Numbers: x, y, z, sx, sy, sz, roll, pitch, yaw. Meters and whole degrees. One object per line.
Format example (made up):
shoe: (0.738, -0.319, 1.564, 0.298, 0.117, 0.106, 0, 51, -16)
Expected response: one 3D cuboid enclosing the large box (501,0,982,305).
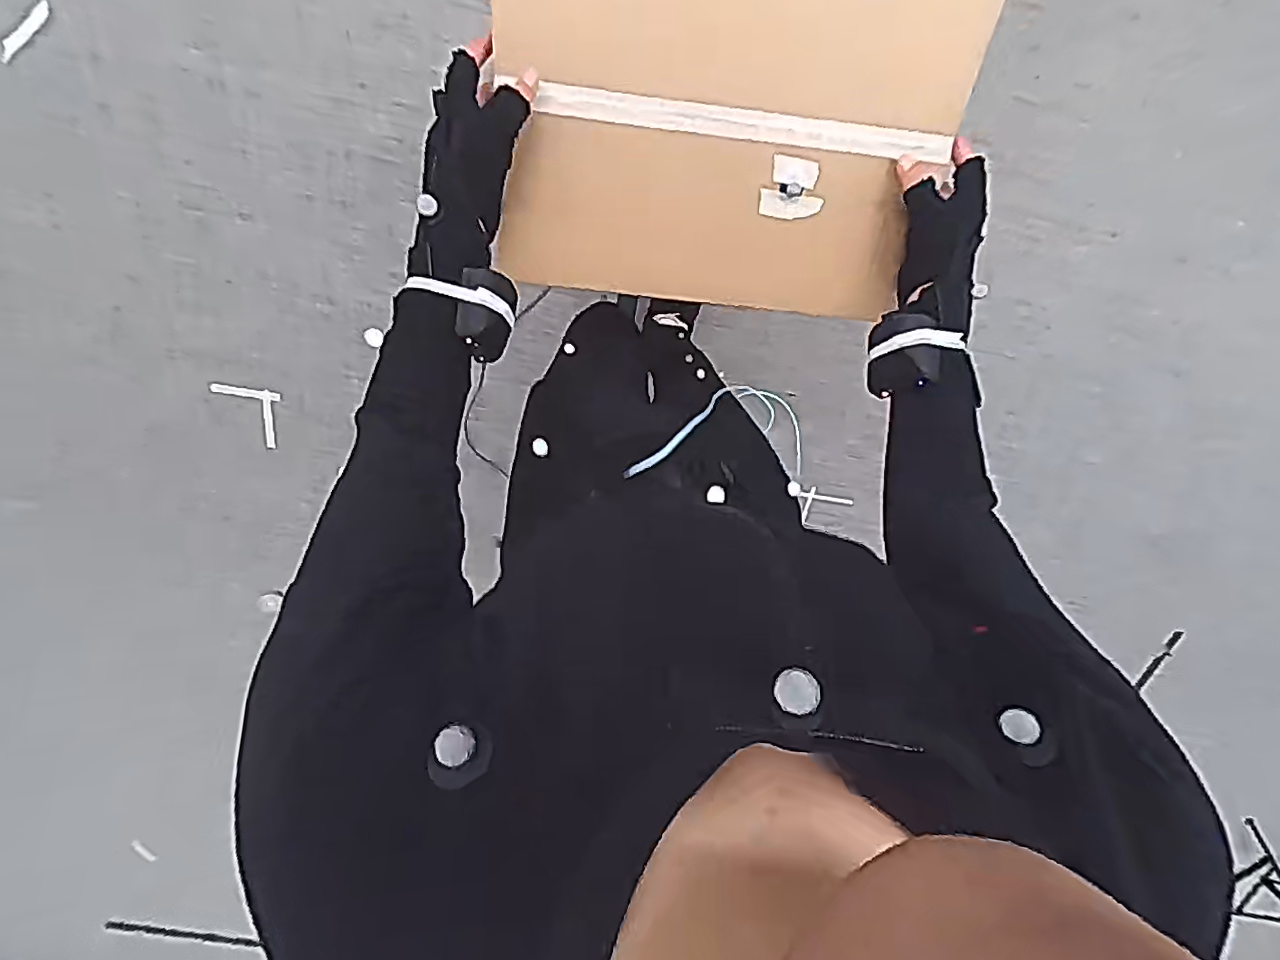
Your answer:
large box: (0.070, -0.408, 0.610, 0.408, 0.320, 0.320, 4, 123, -5)
